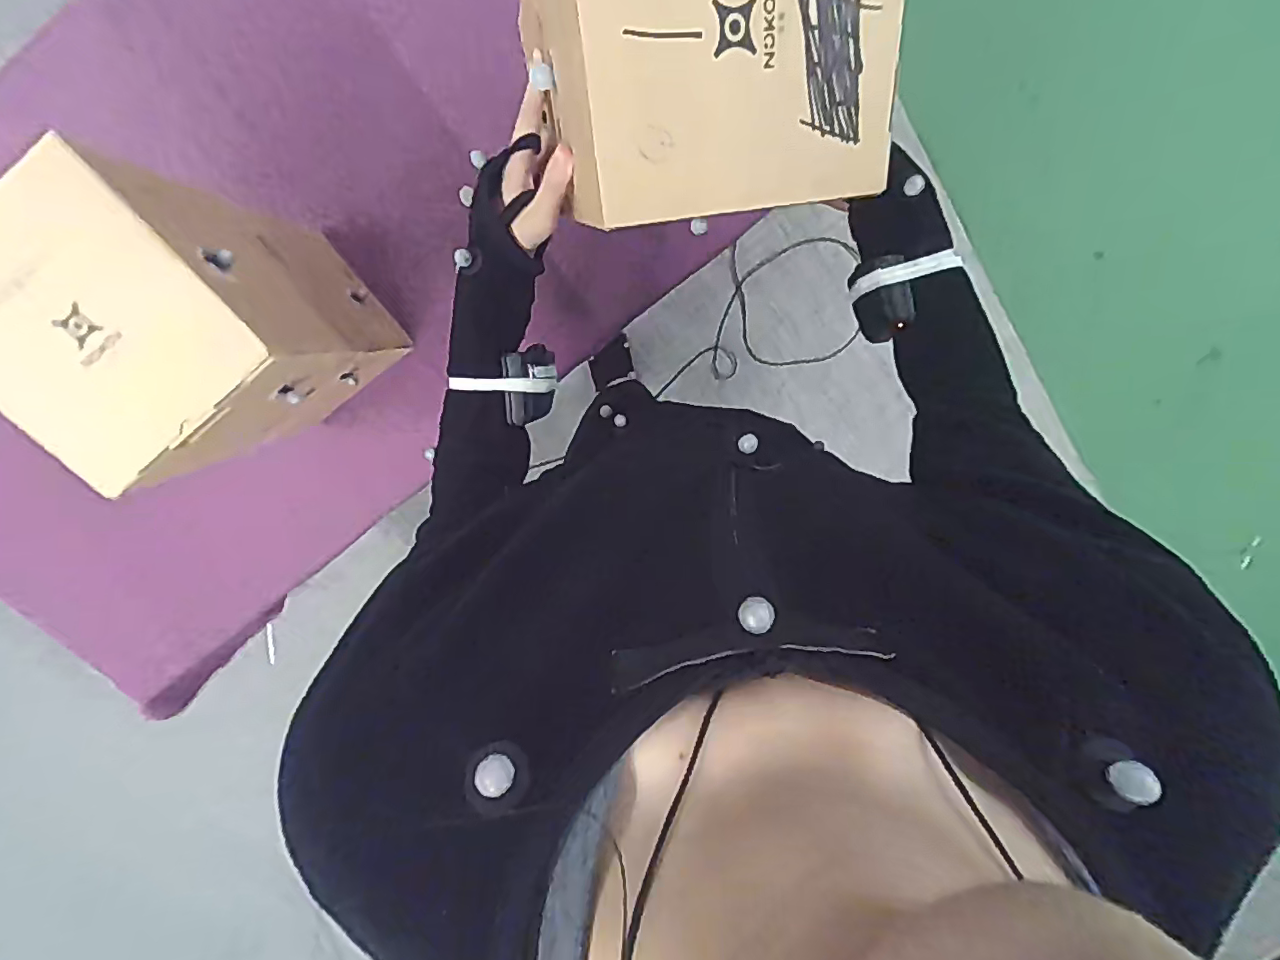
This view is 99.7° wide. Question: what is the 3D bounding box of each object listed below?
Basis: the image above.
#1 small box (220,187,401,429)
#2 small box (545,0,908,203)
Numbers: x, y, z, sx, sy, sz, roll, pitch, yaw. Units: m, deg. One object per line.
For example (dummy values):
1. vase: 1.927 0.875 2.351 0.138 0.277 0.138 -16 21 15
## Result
1. small box: -0.401 -0.174 0.593 0.179 0.176 0.168 -37 105 4
2. small box: 0.039 -0.274 0.337 0.179 0.176 0.168 -10 119 -8
